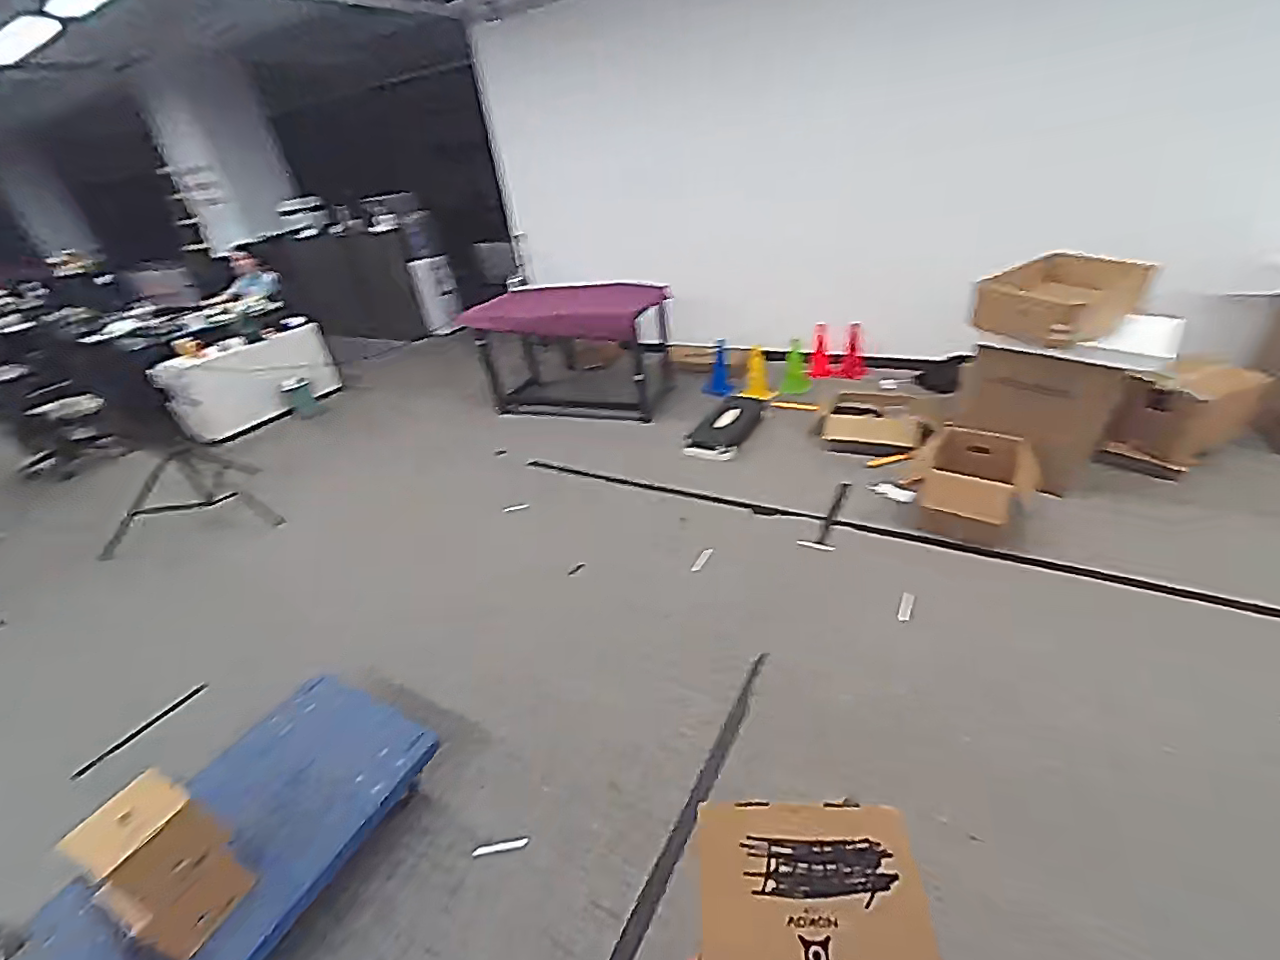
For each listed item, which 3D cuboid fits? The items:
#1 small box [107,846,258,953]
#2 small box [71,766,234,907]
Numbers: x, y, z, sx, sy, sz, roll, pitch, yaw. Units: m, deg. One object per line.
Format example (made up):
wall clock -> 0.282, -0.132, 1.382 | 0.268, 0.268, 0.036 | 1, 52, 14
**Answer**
small box -> -1.020, 0.910, 1.217 | 0.179, 0.176, 0.168 | 9, 35, 25
small box -> -1.027, 0.758, 1.150 | 0.179, 0.176, 0.168 | 9, 36, 25
